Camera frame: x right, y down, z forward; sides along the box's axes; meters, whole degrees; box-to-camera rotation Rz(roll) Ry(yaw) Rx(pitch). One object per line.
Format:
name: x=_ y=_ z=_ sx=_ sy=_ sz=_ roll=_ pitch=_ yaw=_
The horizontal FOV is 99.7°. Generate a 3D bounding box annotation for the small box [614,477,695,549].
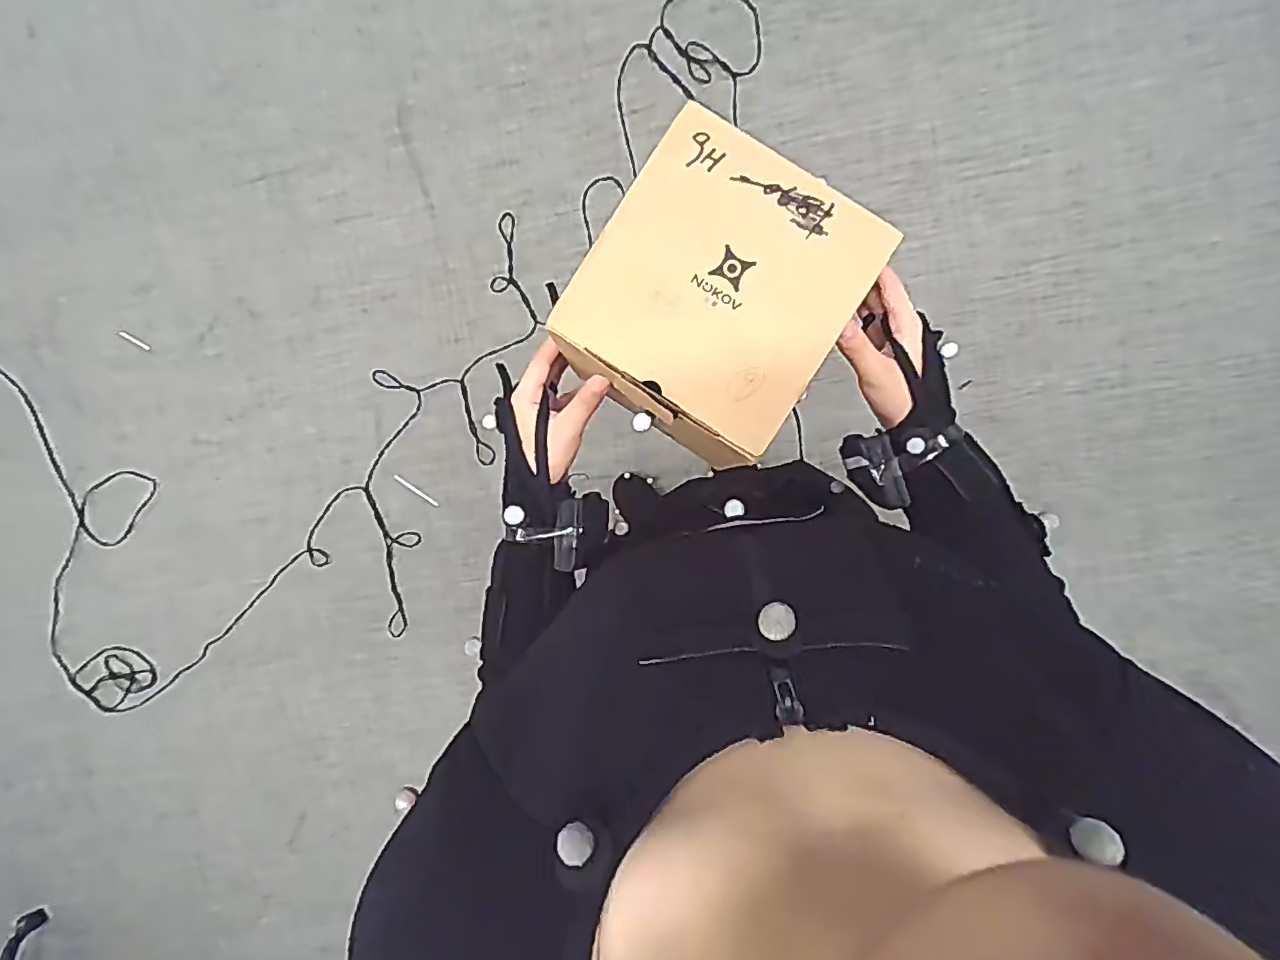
small box: x=0.036 y=0.077 z=1.329 sx=0.179 sy=0.176 sz=0.168 roll=1 pitch=89 yaw=15
